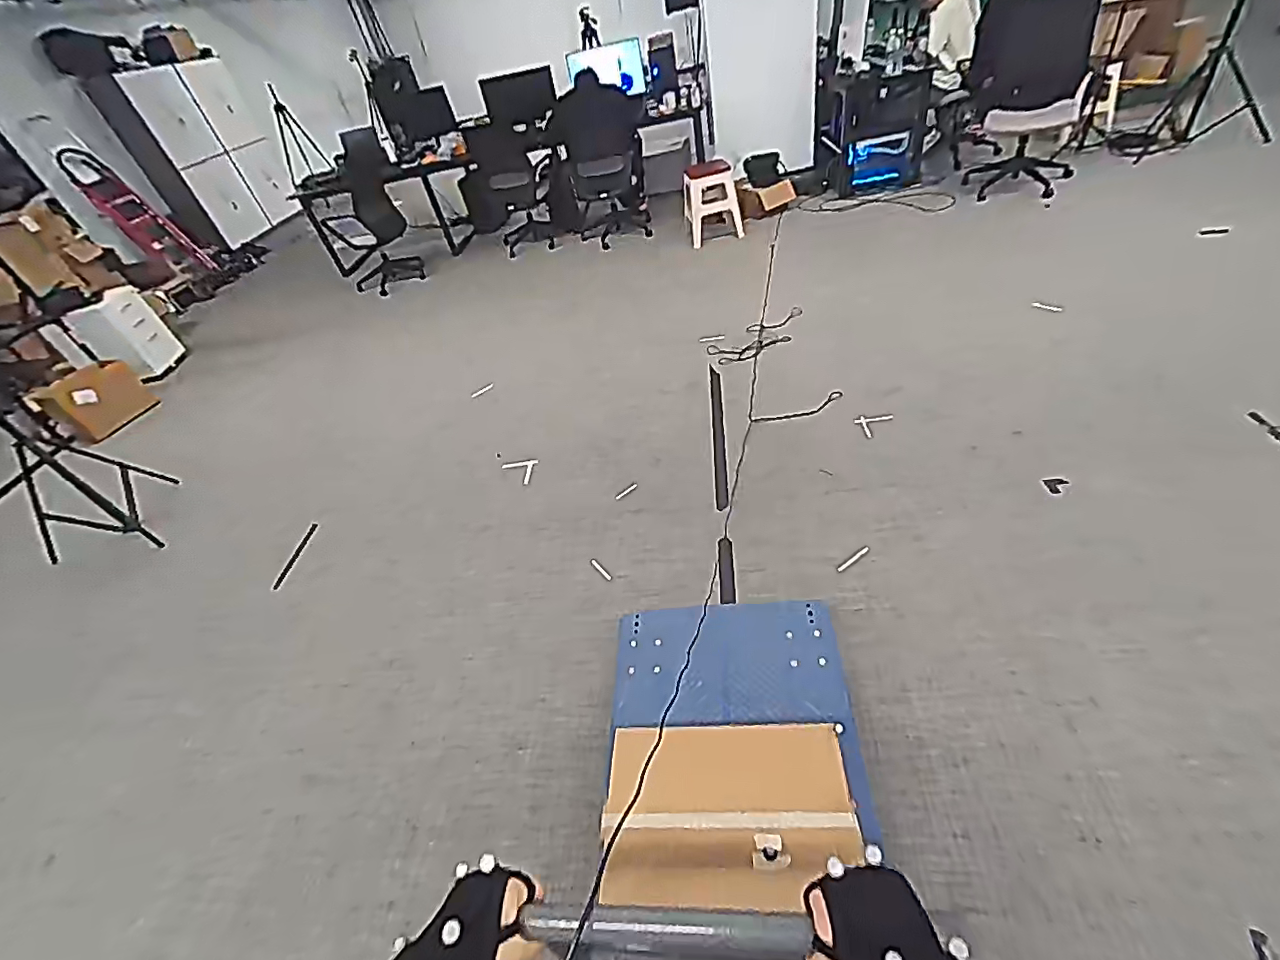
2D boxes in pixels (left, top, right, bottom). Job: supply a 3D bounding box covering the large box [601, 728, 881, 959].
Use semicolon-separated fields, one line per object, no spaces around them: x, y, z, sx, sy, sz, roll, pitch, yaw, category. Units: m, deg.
0.168;0.674;0.971;0.408;0.320;0.320;-5;41;9;large box
